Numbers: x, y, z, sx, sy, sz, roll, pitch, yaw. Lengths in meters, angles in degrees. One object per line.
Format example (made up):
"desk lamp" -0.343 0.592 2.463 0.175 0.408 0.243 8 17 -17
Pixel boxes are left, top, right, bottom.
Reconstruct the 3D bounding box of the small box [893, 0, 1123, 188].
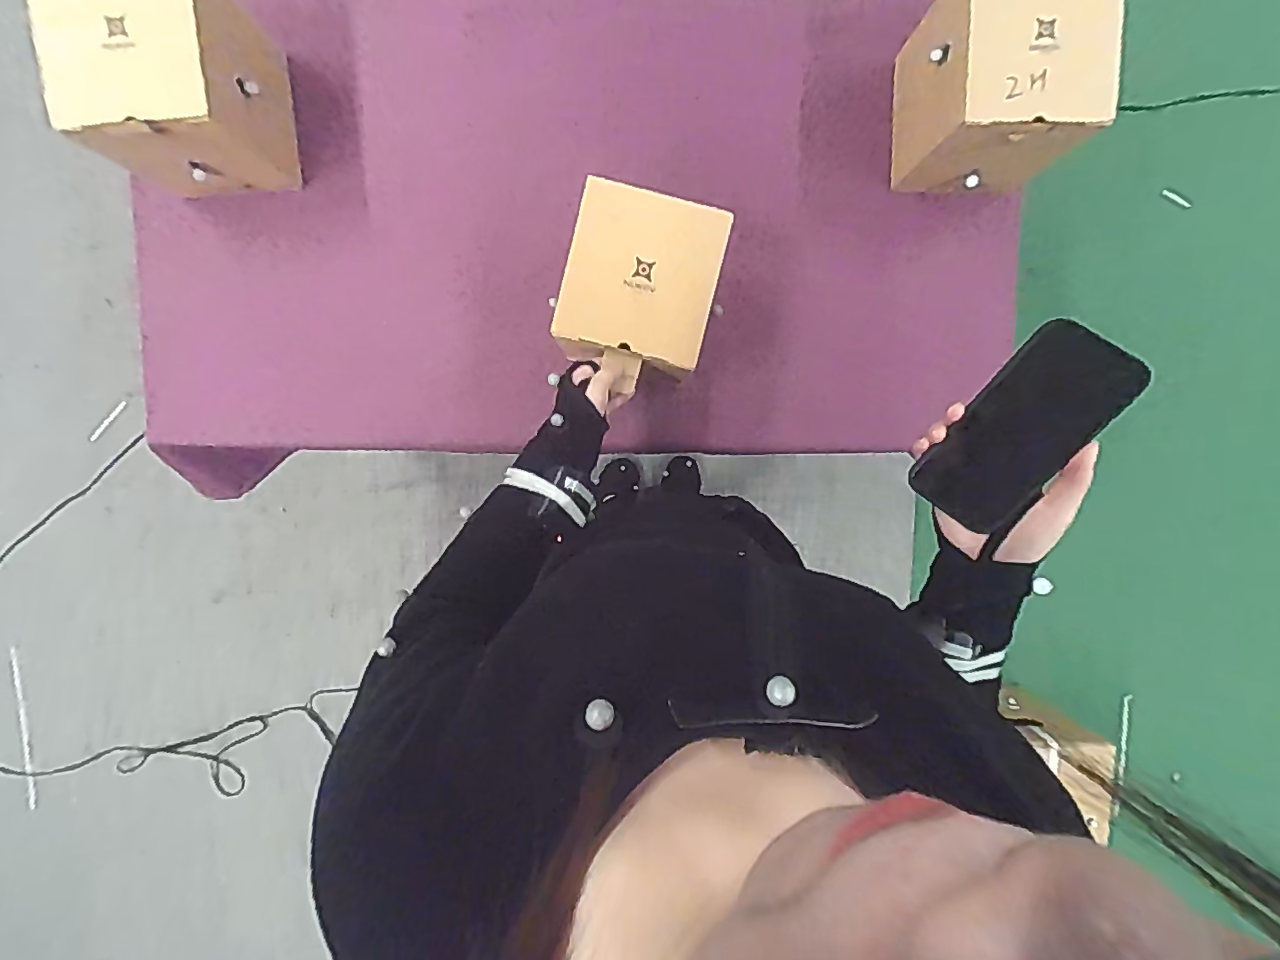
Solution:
"small box" 0.423 -0.479 0.648 0.168 0.176 0.179 0 95 0

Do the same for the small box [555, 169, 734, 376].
"small box" 0.002 -0.238 0.666 0.168 0.176 0.179 13 95 -2

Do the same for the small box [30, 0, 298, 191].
"small box" -0.538 -0.461 0.637 0.168 0.176 0.179 -5 96 -1
